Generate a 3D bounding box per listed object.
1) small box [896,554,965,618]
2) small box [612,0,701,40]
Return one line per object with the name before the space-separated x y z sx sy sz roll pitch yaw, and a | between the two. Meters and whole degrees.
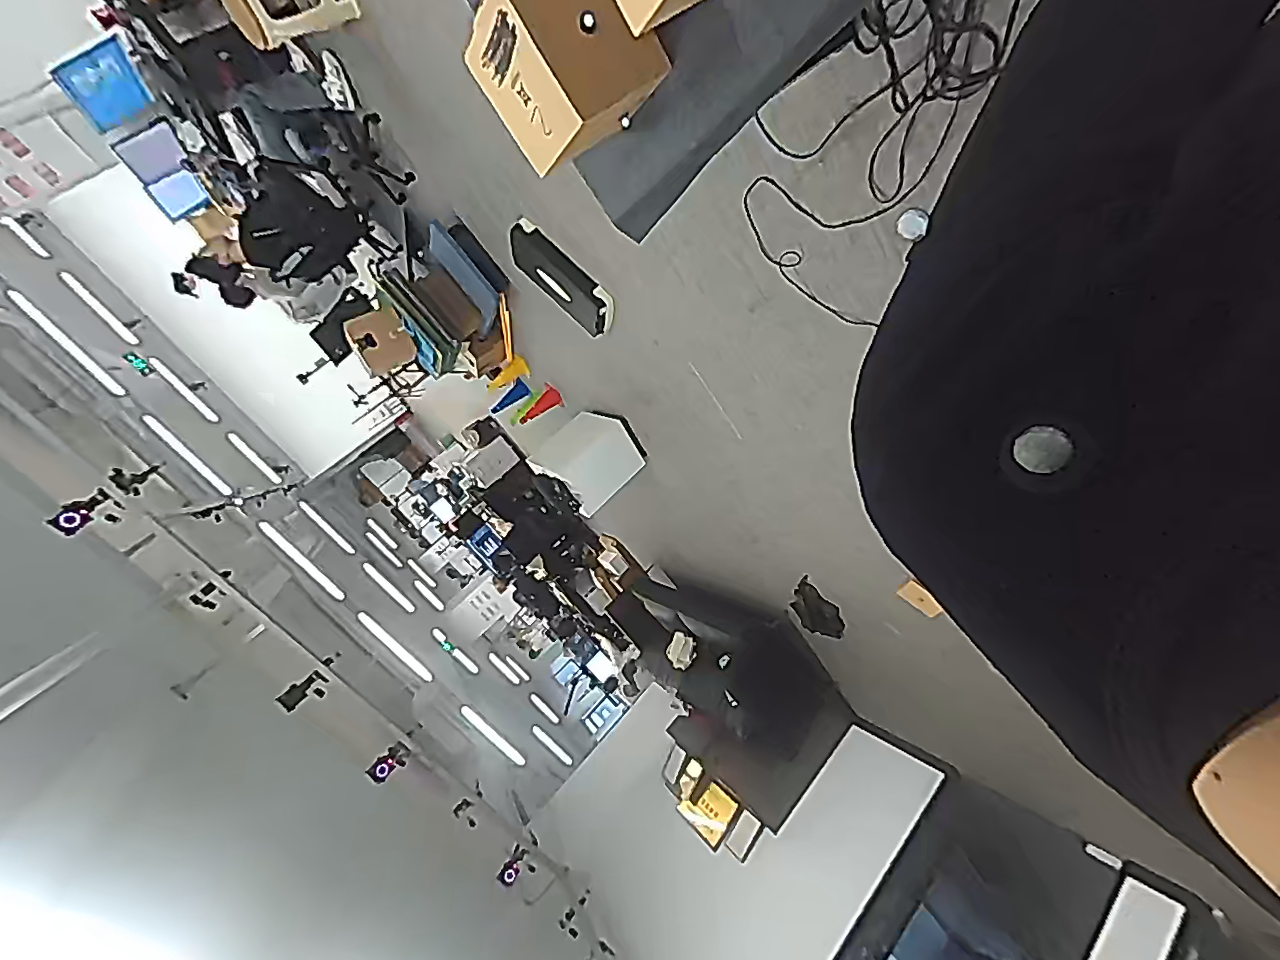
small box | 1.206 0.438 2.241 0.168 0.176 0.179 37 159 22
small box | 0.044 -0.538 0.451 0.179 0.176 0.168 55 160 -20
